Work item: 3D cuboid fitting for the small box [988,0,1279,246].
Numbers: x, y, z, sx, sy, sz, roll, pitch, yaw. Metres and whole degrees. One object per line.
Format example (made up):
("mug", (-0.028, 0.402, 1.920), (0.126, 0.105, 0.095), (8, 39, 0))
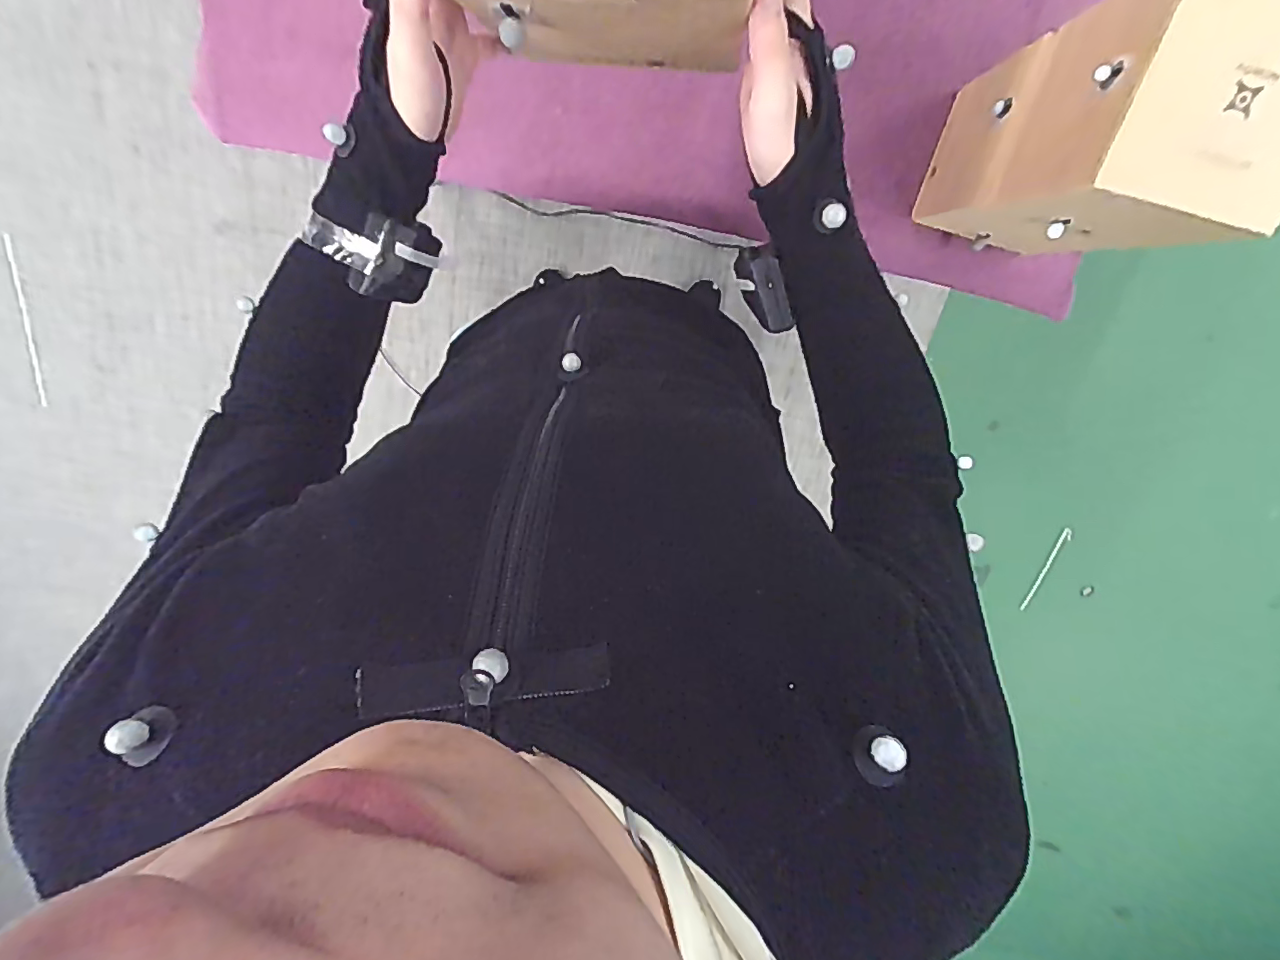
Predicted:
("small box", (0.475, -0.334, 0.506), (0.168, 0.176, 0.179), (14, 110, -3))

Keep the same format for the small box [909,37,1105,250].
("small box", (0.474, -0.388, 0.661), (0.179, 0.176, 0.168), (14, 109, -5))
